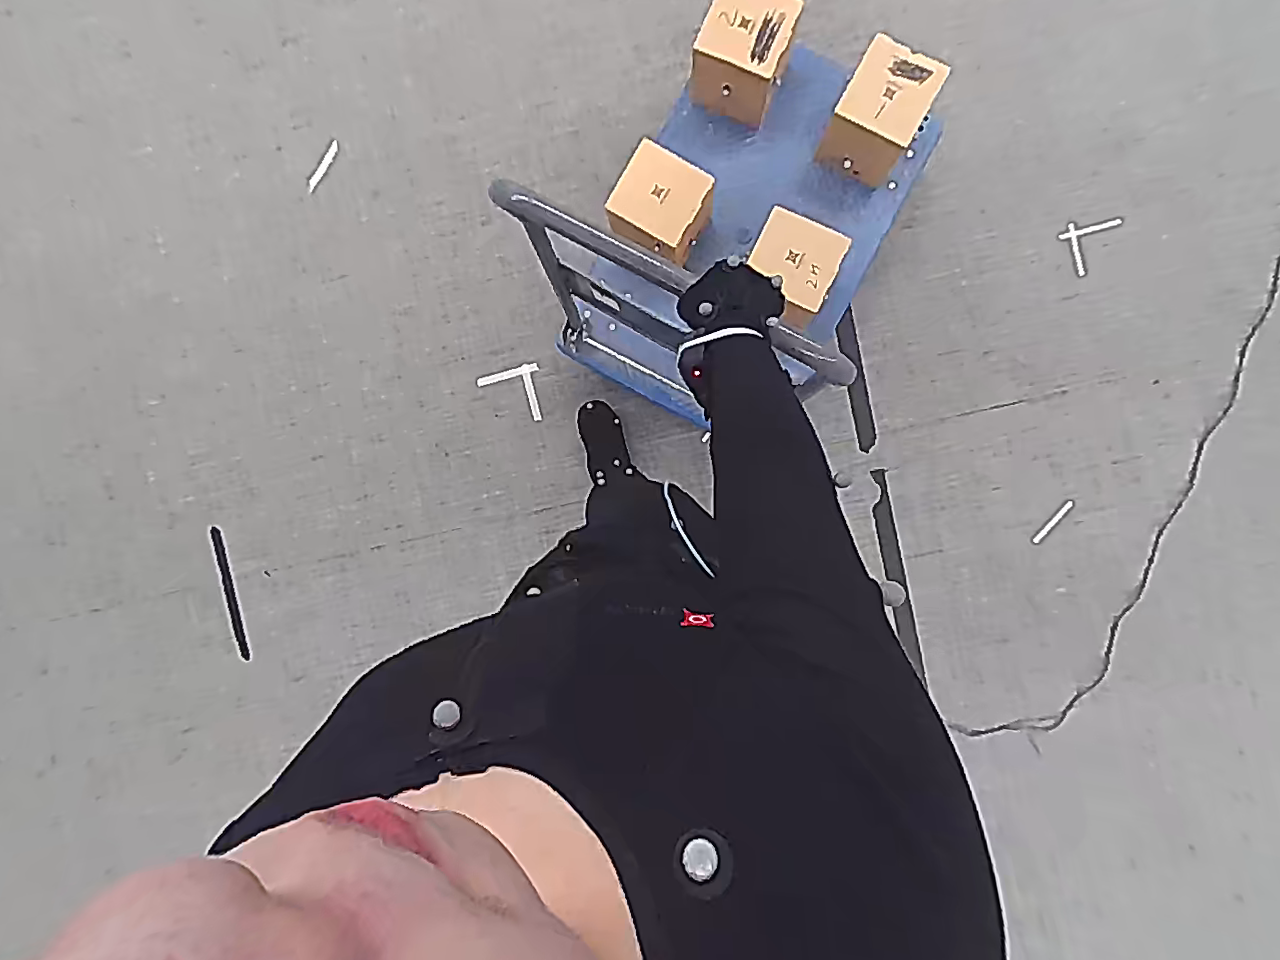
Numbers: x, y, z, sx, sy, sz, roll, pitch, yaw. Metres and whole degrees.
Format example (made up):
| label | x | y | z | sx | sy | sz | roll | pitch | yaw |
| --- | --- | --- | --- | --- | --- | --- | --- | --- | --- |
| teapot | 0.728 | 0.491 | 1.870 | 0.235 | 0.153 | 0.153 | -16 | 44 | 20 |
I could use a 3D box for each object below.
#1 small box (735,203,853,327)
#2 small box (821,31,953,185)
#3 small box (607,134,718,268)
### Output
| label | x | y | z | sx | sy | sz | roll | pitch | yaw |
| --- | --- | --- | --- | --- | --- | --- | --- | --- | --- |
| small box | 0.321 | -0.453 | 1.171 | 0.179 | 0.176 | 0.168 | 27 | 93 | 3 |
| small box | 0.510 | -0.778 | 1.149 | 0.168 | 0.176 | 0.179 | 30 | 95 | 3 |
| small box | 0.048 | -0.599 | 1.188 | 0.179 | 0.176 | 0.168 | 31 | 93 | 1 |
